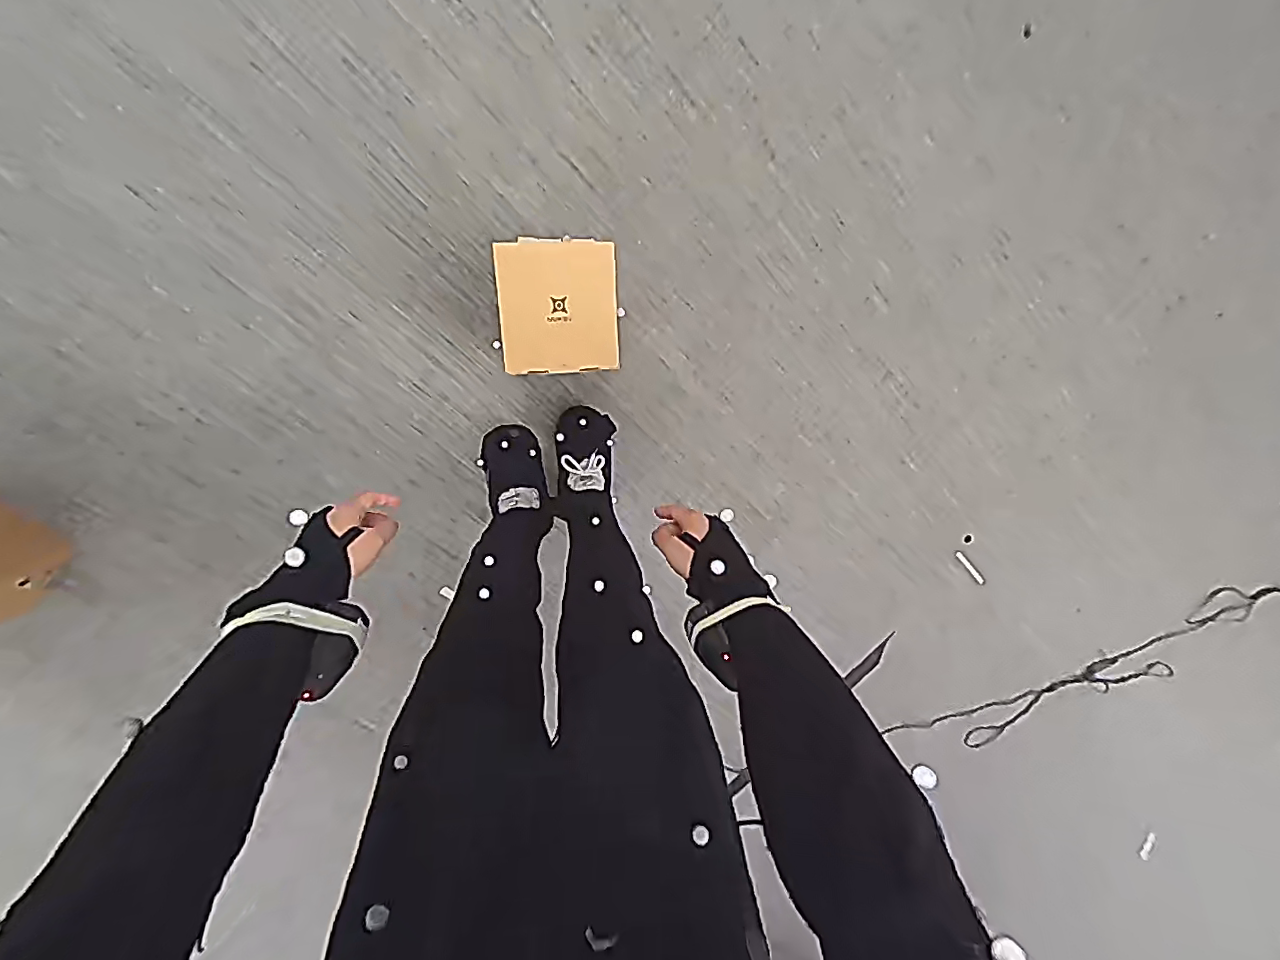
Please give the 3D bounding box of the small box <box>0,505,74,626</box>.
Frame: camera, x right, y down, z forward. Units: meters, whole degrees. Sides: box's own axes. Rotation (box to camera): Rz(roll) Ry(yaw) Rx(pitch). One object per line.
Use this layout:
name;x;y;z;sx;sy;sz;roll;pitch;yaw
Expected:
small box;-1.160;0.157;0.930;0.179;0.176;0.168;37;96;-18

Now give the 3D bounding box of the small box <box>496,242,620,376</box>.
small box;-0.129;-0.261;0.829;0.168;0.176;0.179;-6;110;-11
